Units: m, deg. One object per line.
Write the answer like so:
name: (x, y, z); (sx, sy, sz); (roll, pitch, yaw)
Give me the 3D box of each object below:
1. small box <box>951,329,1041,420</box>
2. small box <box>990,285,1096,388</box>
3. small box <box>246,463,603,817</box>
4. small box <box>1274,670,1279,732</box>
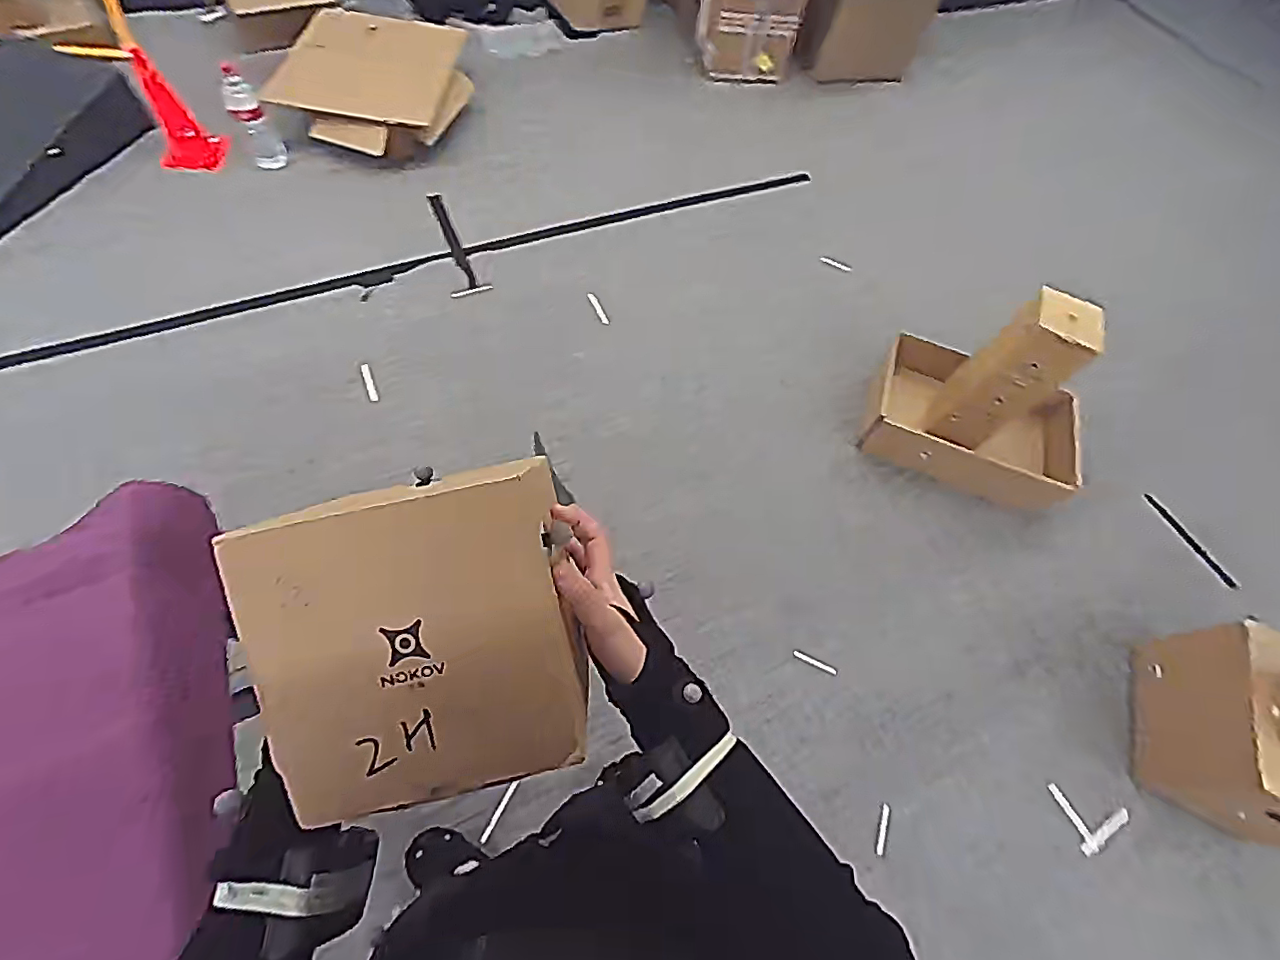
small box: (1.065, -0.308, 1.616); (0.168, 0.176, 0.179); (25, 62, 5)
small box: (1.094, -0.387, 1.476); (0.168, 0.176, 0.179); (24, 62, 4)
small box: (-0.123, 0.086, 0.382); (0.168, 0.176, 0.179); (-11, 96, -2)
small box: (1.518, 0.497, 1.146); (0.179, 0.176, 0.168); (26, 63, 5)
